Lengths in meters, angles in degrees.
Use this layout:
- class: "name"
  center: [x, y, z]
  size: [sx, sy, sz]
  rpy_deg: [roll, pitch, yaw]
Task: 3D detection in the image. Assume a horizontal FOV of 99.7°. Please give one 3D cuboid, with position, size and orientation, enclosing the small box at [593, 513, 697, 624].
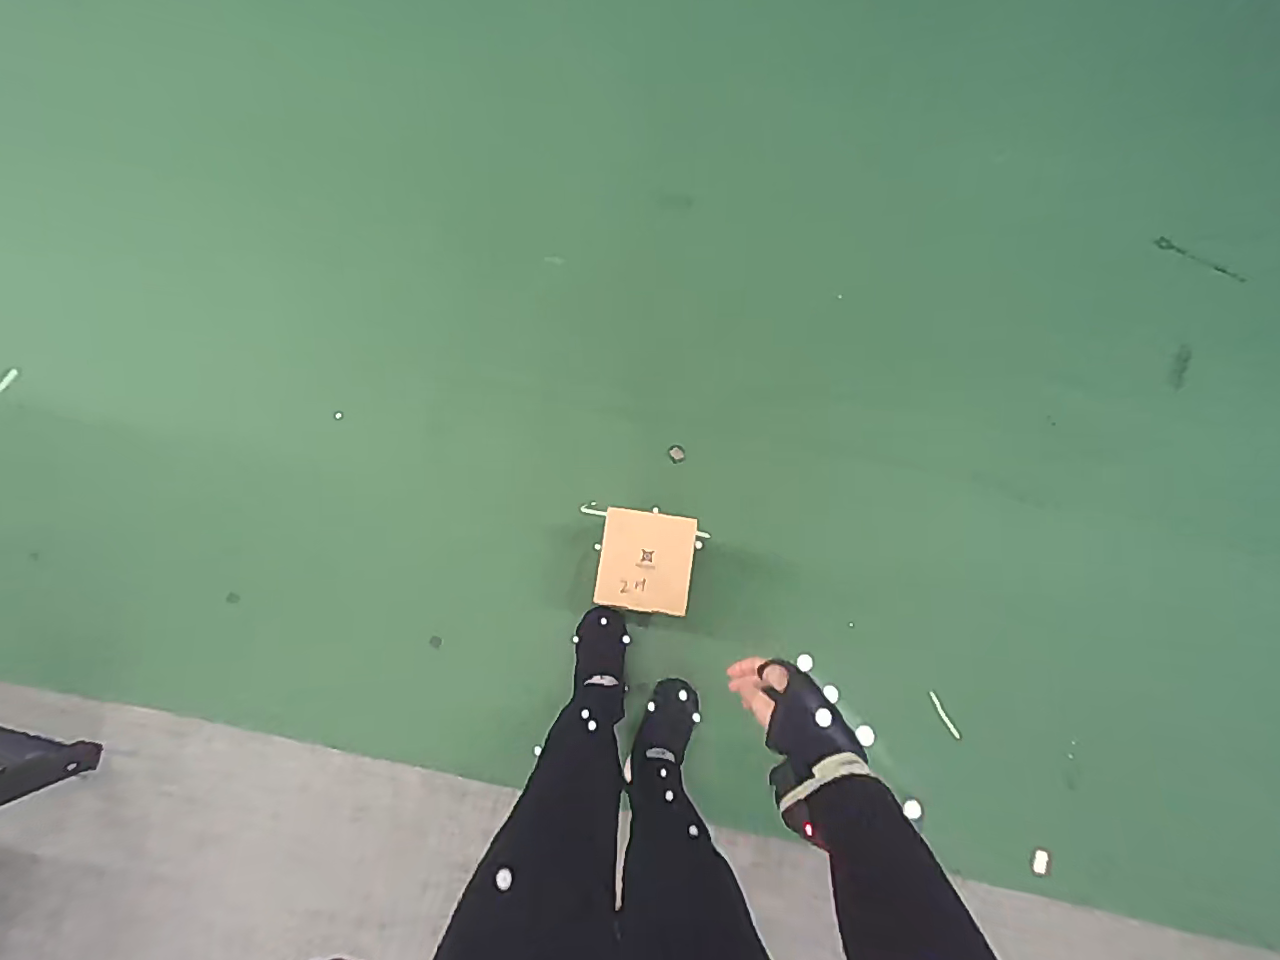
- class: "small box"
  center: [0.009, 0.167, 1.041]
  size: [0.168, 0.176, 0.179]
  rpy_deg: [9, 83, 2]
